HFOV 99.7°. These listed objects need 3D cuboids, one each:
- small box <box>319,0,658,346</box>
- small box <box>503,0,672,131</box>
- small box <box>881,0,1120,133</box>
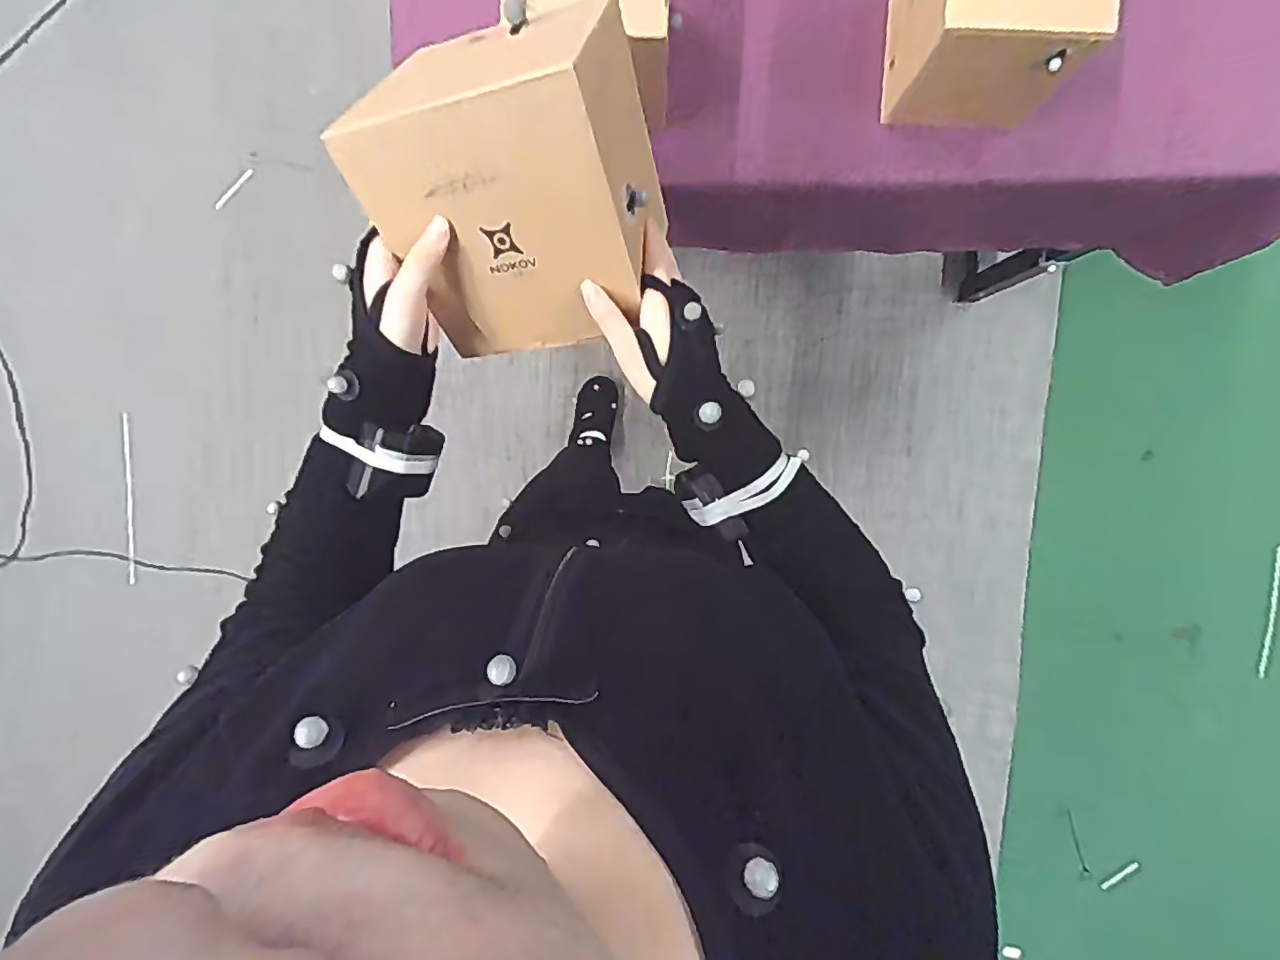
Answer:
[{"bbox_3d":[-0.086,-0.230,0.414,0.168,0.179,0.176,-3,51,14],"label":"small box"},{"bbox_3d":[-0.053,-0.538,0.636,0.179,0.176,0.168,2,94,1],"label":"small box"},{"bbox_3d":[0.399,-0.530,0.622,0.179,0.176,0.168,3,94,1],"label":"small box"}]
